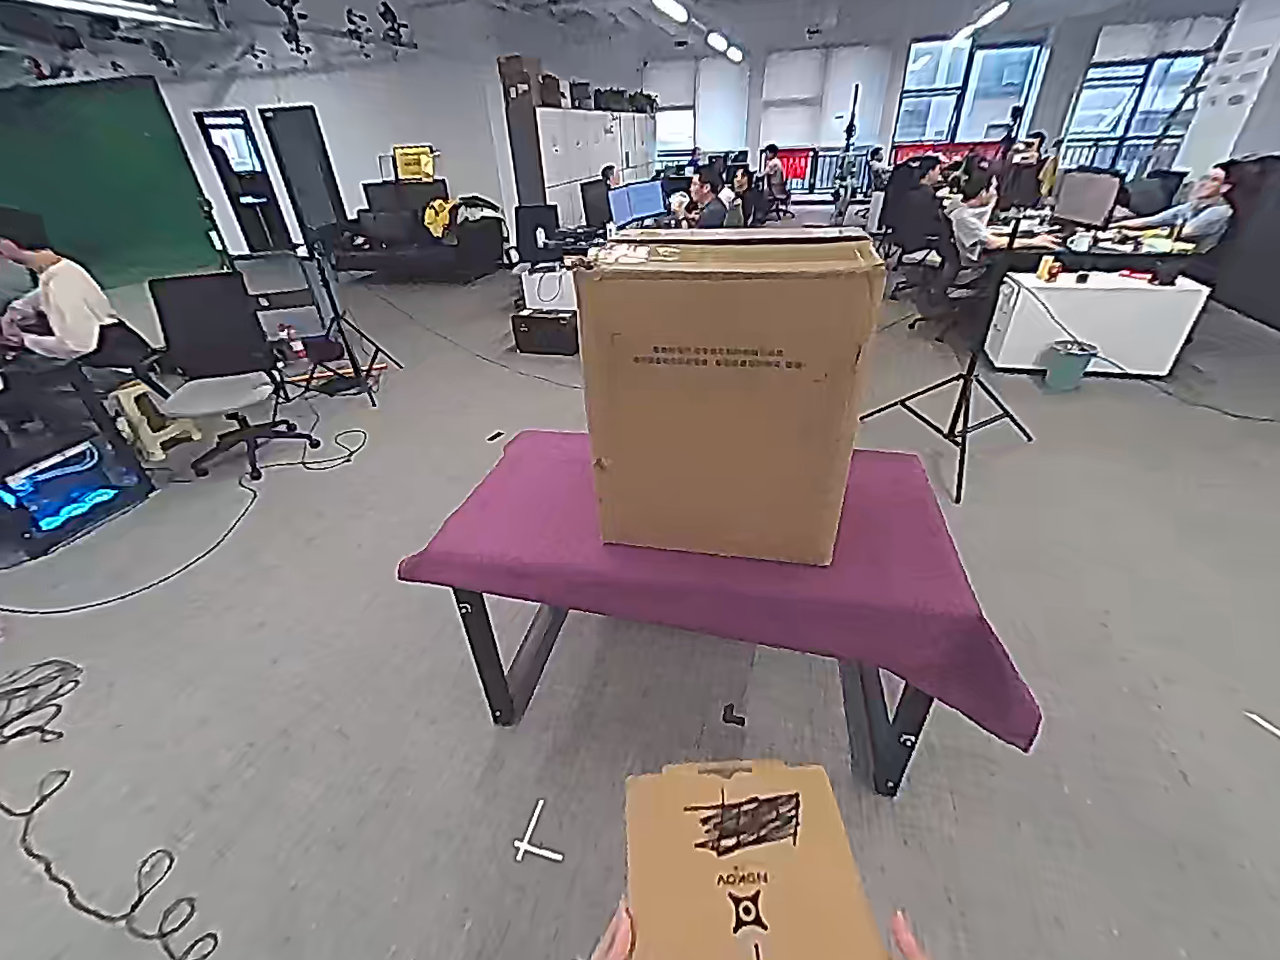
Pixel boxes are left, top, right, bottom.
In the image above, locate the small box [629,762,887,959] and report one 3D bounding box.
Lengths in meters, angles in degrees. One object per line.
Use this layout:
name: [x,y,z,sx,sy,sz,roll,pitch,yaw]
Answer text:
small box: [0.075,0.351,0.421,0.168,0.176,0.179,-3,35,-1]
